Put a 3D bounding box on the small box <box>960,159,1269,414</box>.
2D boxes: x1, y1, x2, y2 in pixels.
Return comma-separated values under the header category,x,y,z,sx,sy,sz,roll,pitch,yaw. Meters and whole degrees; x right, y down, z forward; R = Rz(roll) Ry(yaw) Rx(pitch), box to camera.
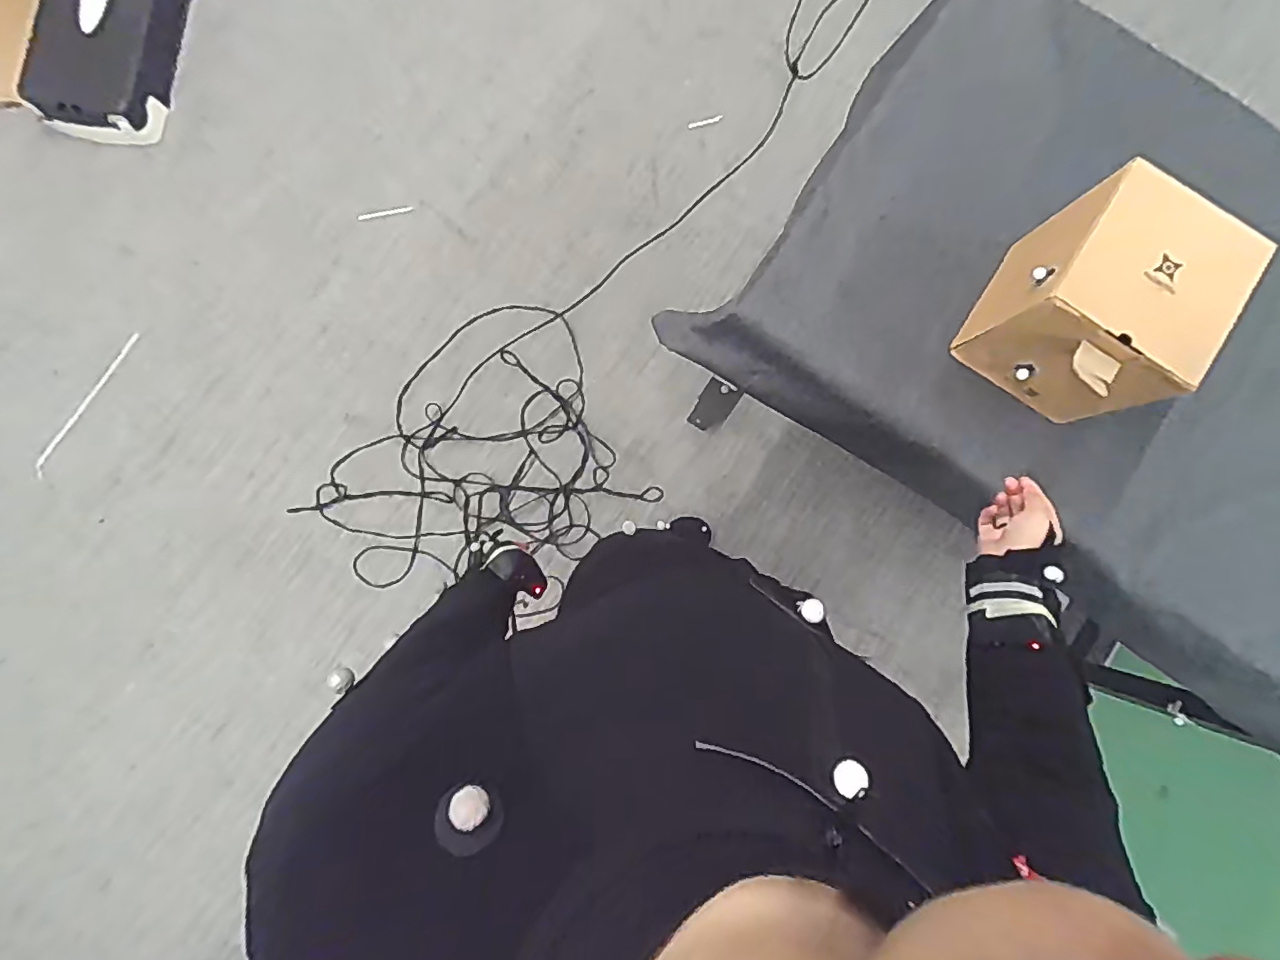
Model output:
category,x,y,z,sx,sy,sz,roll,pitch,yaw
small box,0.508,-0.199,0.608,0.168,0.176,0.179,33,85,0
